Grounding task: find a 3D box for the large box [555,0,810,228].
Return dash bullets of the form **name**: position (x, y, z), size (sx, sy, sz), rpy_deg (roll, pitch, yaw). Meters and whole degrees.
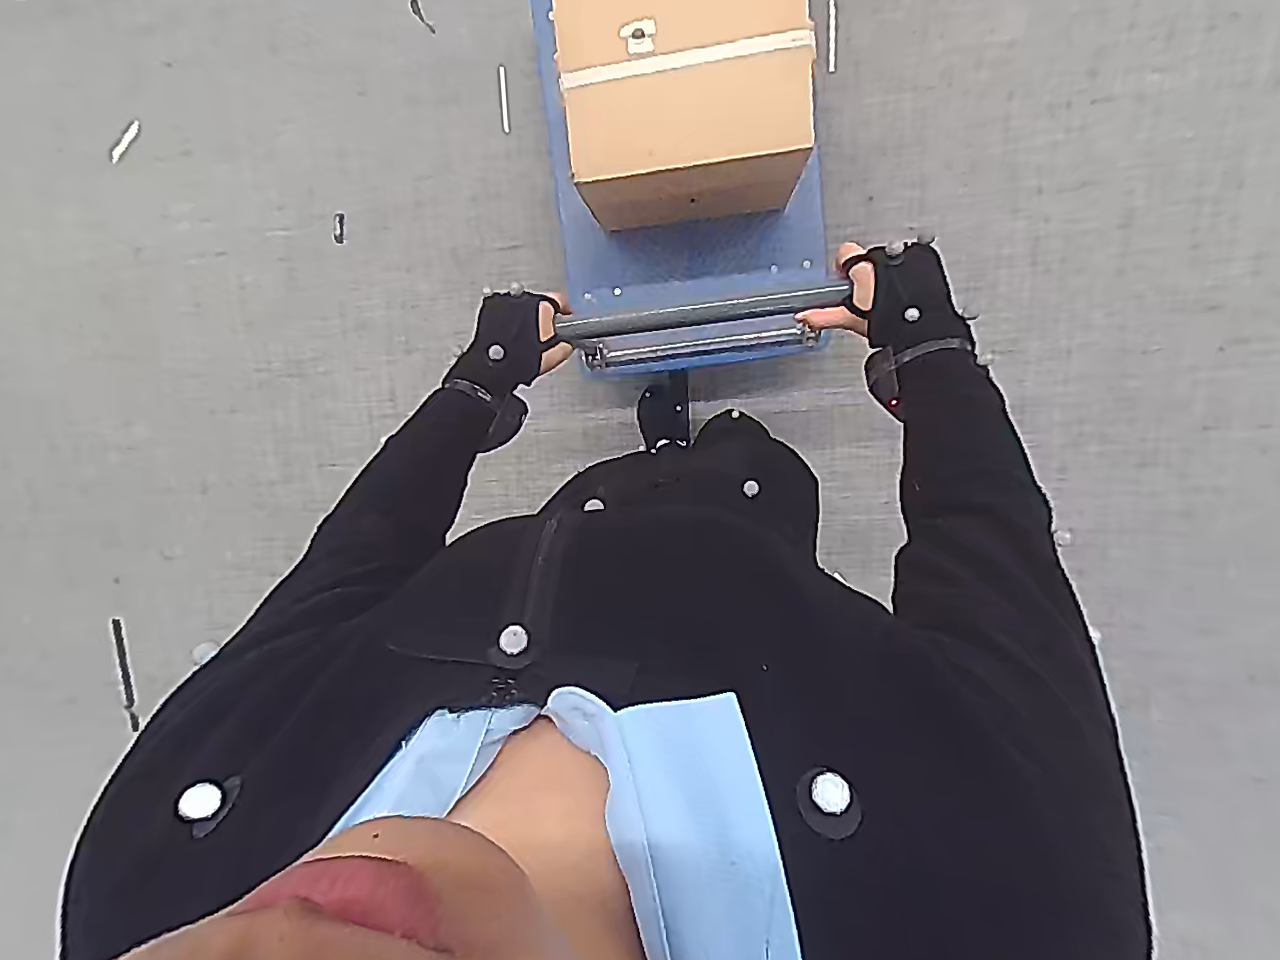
- **large box**: position (0.088, -0.714, 1.042), size (0.408, 0.320, 0.320), rpy_deg (-5, 99, 8)
